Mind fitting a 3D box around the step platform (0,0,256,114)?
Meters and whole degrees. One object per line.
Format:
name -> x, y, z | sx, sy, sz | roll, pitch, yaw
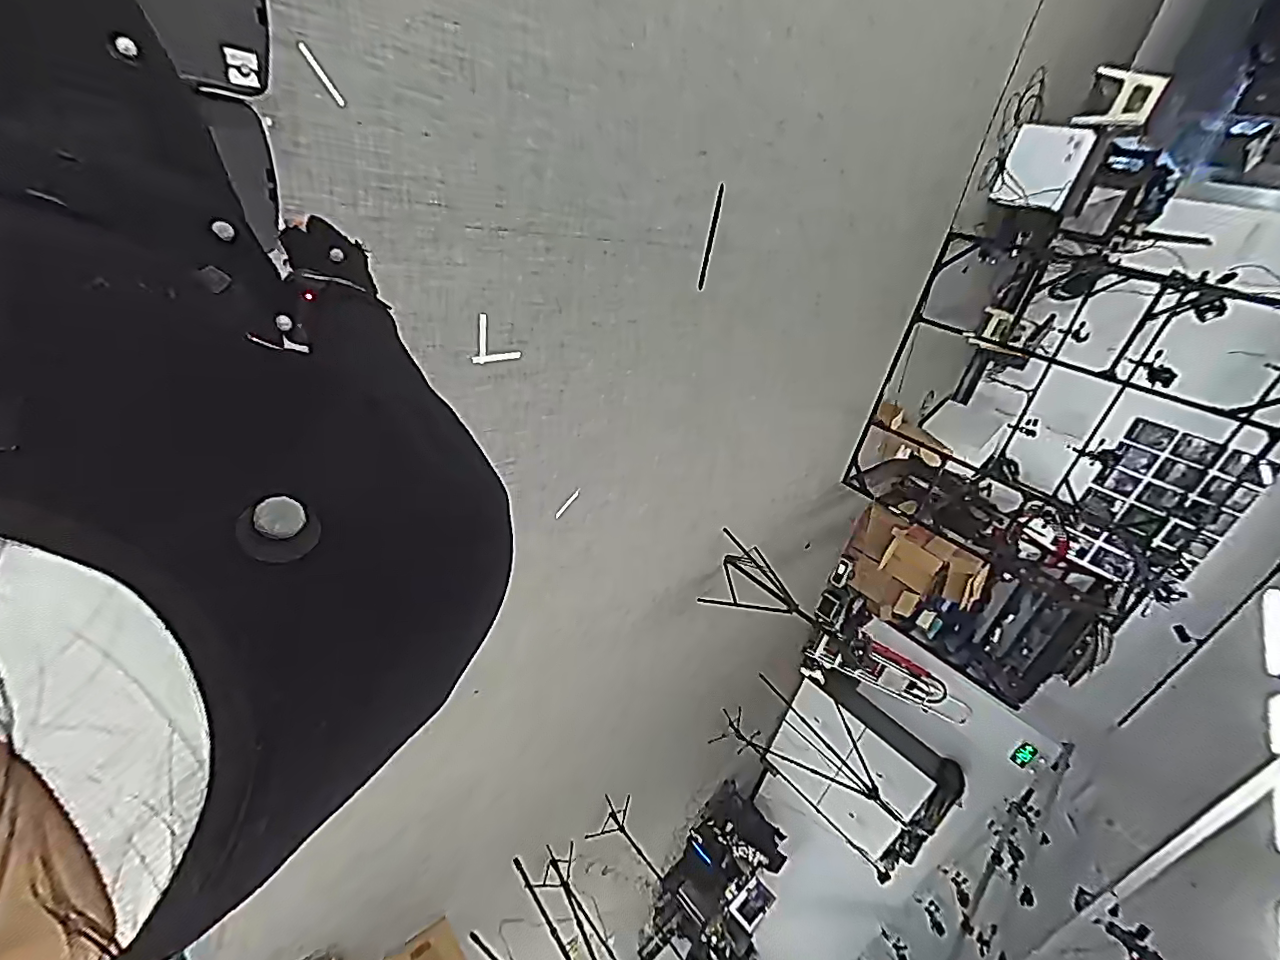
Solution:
step platform -> -0.961, -0.748, 0.759 | 0.684, 0.204, 0.286 | -19, 132, -41
